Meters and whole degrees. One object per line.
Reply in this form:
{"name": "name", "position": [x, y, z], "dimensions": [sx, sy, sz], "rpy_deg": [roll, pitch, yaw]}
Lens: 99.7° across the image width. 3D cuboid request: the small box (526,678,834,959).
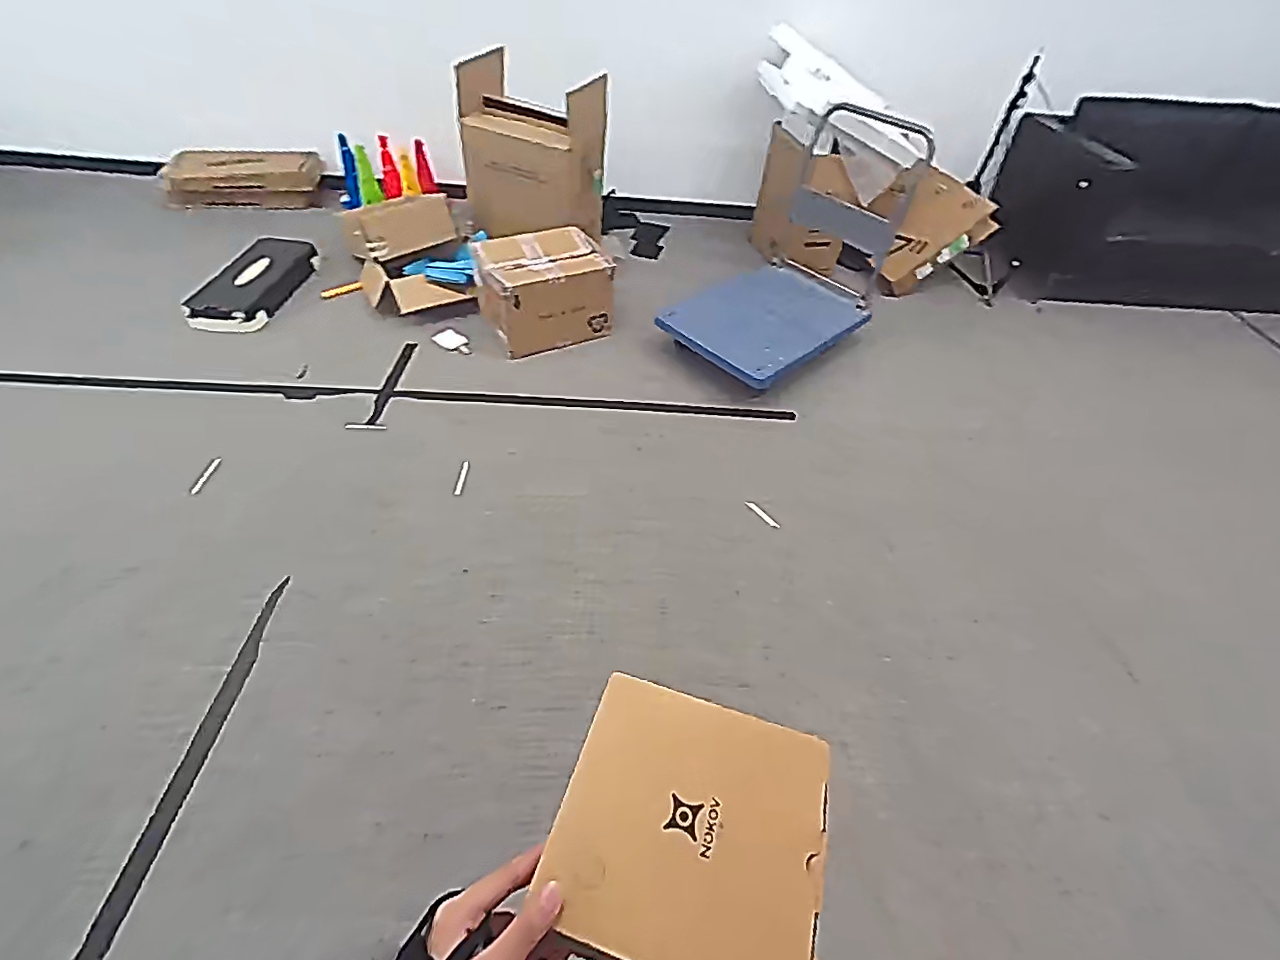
{"name": "small box", "position": [0.036, 0.289, 0.420], "dimensions": [0.179, 0.176, 0.168], "rpy_deg": [13, 47, 13]}
